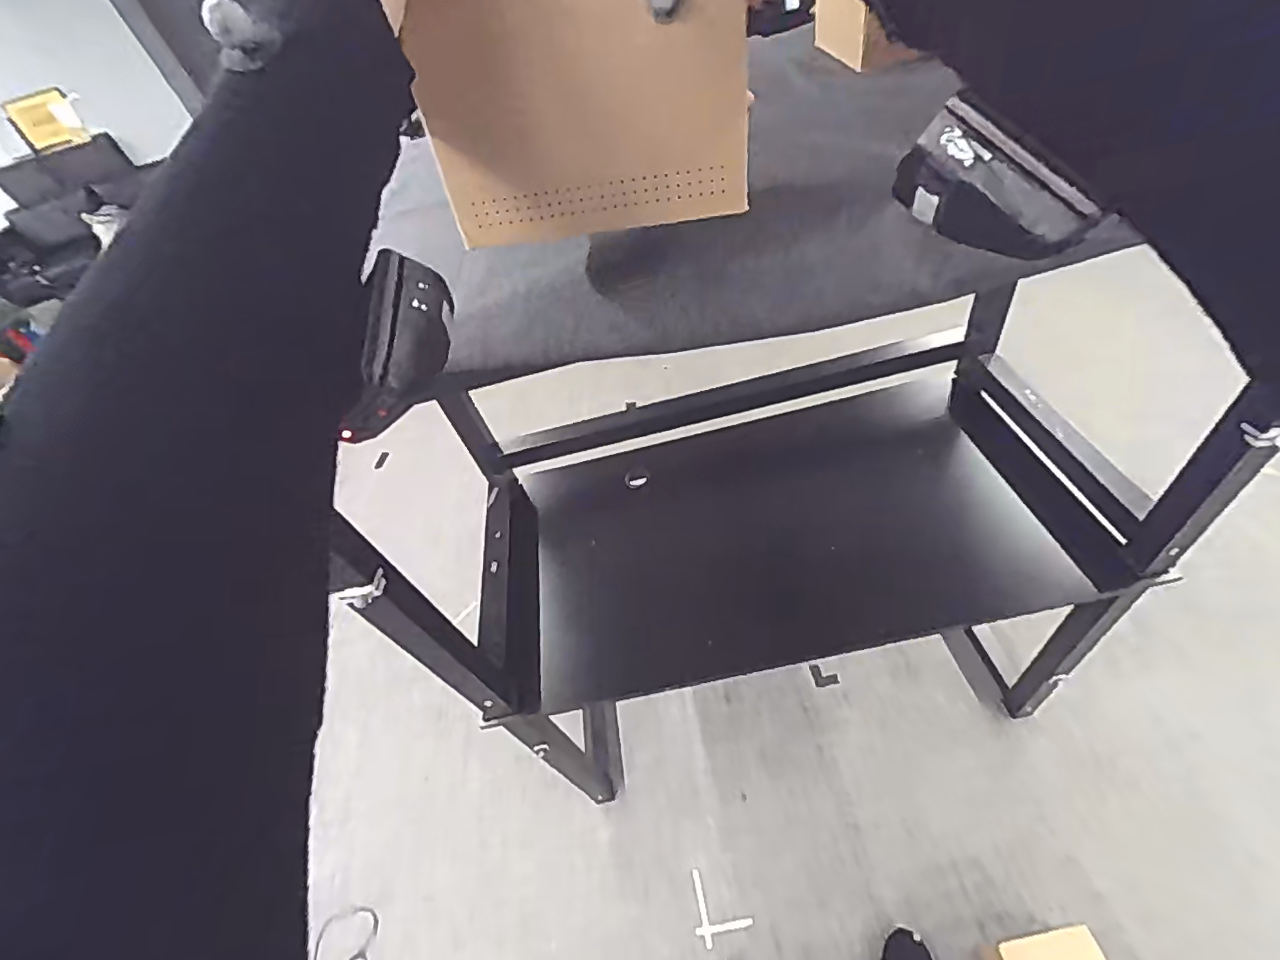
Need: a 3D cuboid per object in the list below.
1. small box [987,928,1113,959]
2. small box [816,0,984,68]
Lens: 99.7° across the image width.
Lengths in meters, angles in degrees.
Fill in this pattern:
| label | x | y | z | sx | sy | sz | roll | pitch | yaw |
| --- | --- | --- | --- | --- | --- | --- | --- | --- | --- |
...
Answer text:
| label | x | y | z | sx | sy | sz | roll | pitch | yaw |
| --- | --- | --- | --- | --- | --- | --- | --- | --- | --- |
| small box | 0.811 | 0.982 | 1.035 | 0.179 | 0.176 | 0.168 | -16 | 46 | 3 |
| small box | 0.295 | -0.576 | 0.584 | 0.168 | 0.176 | 0.179 | -12 | 46 | 6 |
